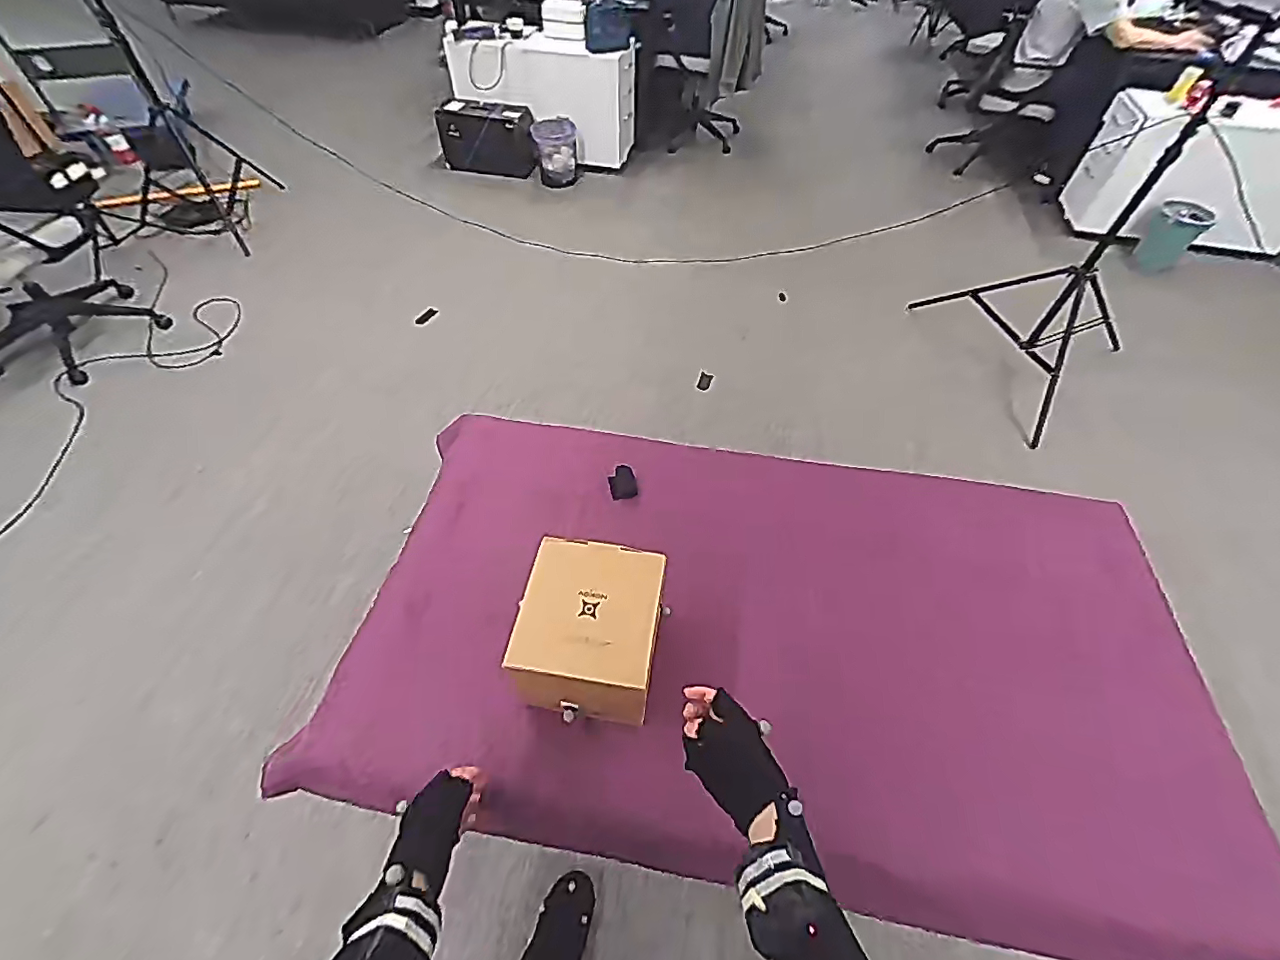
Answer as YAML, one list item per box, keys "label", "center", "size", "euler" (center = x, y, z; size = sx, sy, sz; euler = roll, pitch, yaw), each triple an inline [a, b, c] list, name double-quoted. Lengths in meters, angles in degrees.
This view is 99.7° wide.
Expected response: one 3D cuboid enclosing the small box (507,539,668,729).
- label: "small box"
  center: [-0.060, 0.205, 0.715]
  size: [0.168, 0.176, 0.179]
  euler: [8, 52, 5]
